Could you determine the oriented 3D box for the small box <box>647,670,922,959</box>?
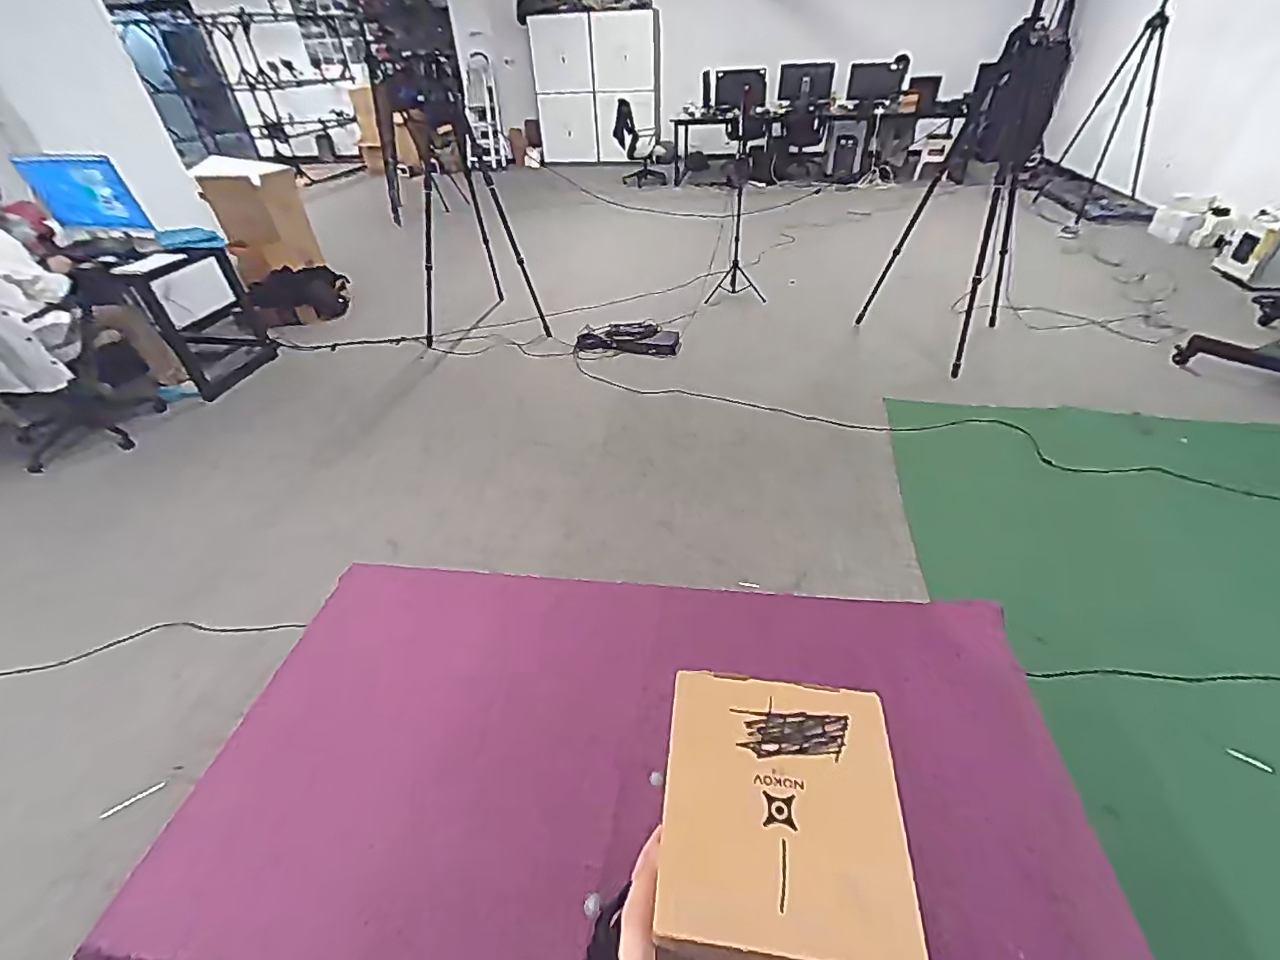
[{"bbox_3d":[0.098,0.282,0.435,0.168,0.176,0.179,4,44,7],"label":"small box"}]
